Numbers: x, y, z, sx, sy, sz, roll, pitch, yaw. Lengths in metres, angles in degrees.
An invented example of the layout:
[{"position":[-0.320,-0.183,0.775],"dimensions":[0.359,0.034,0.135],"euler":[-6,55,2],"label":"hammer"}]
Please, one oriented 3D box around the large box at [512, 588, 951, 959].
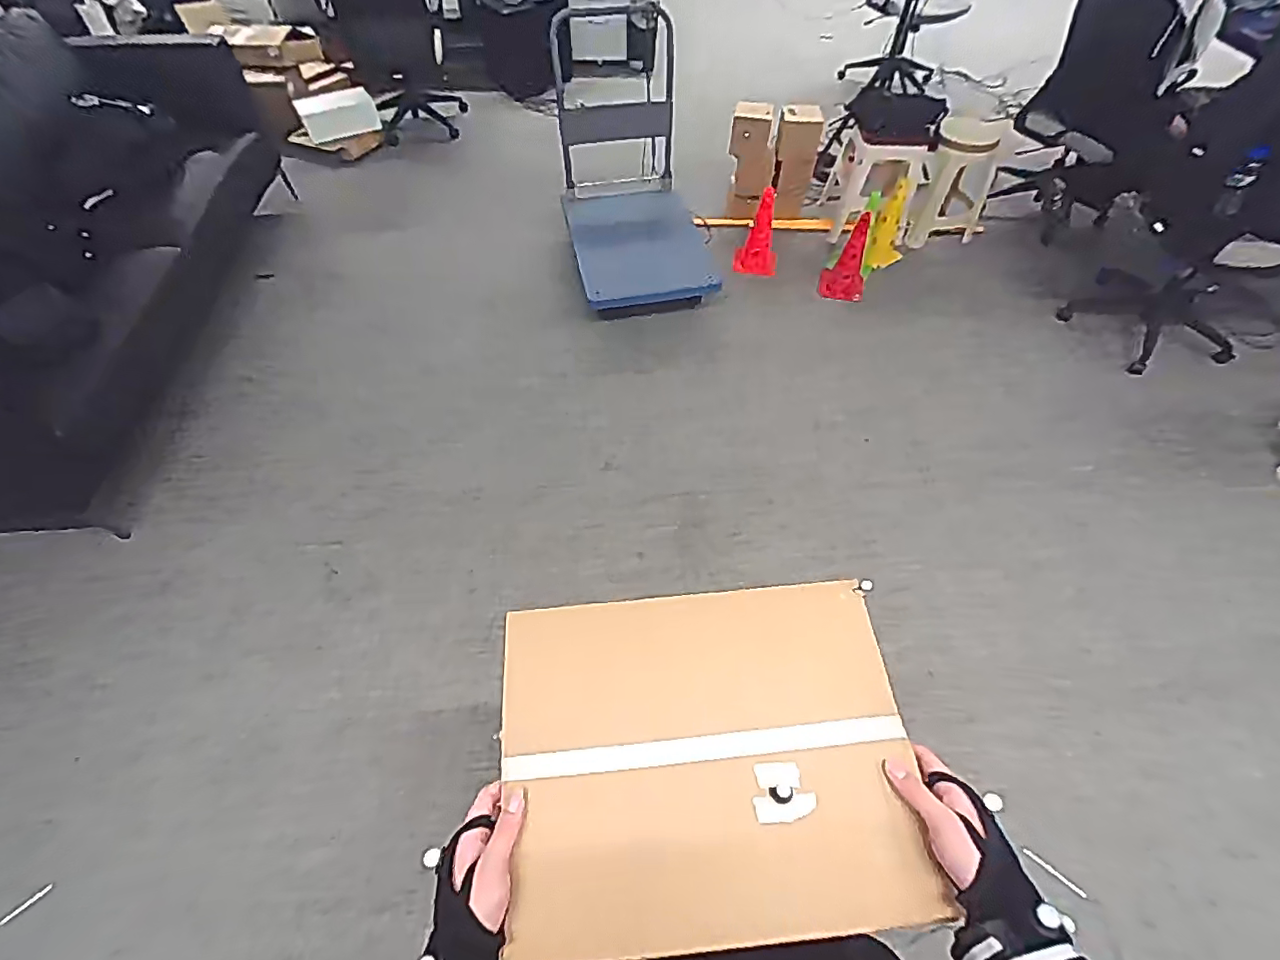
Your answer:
[{"position":[0.070,0.354,0.679],"dimensions":[0.408,0.320,0.320],"euler":[-6,61,-2],"label":"large box"}]
